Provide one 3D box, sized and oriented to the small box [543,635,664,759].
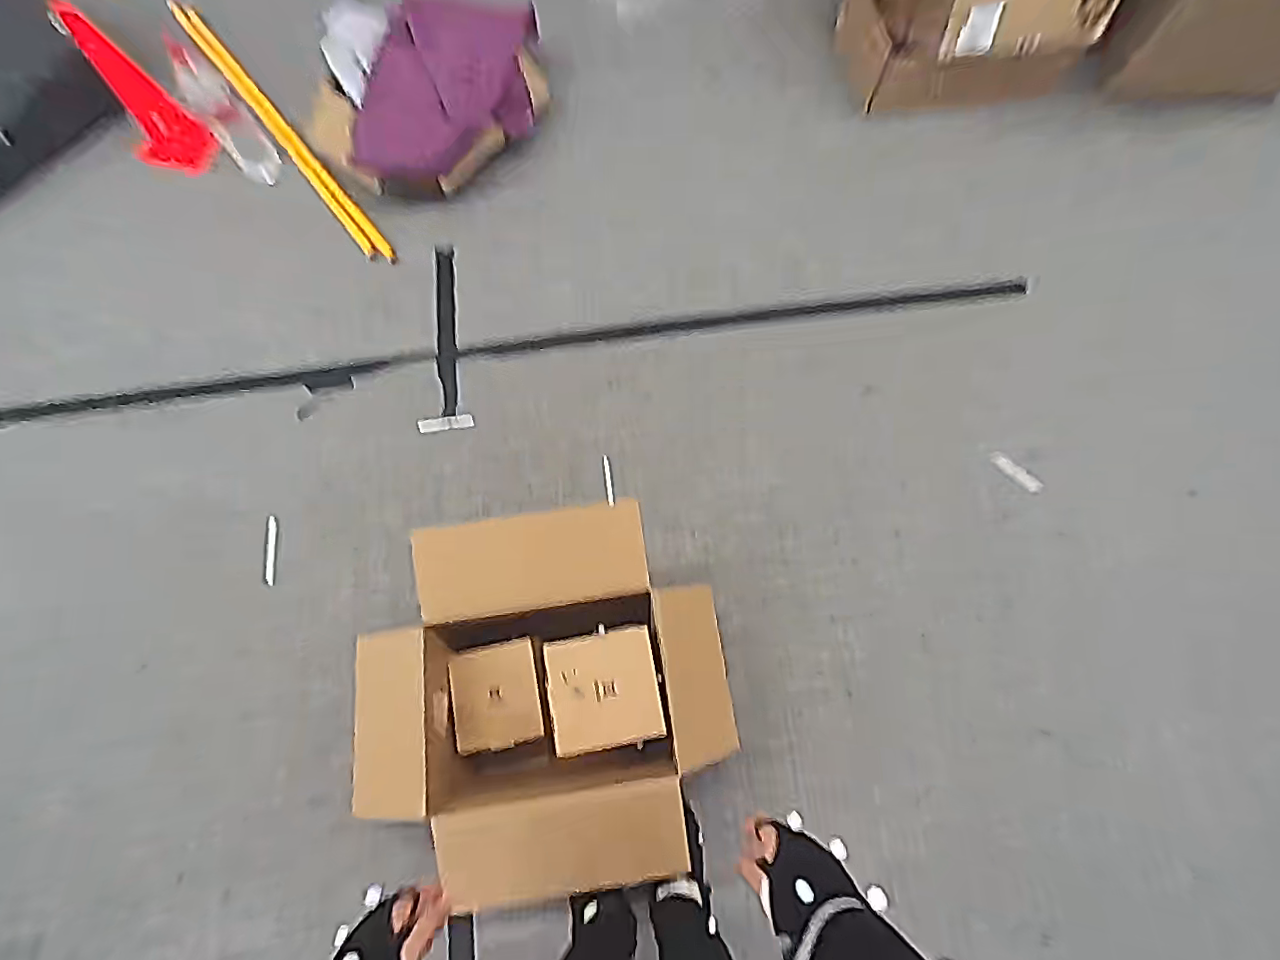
[{"bbox_3d":[-0.064,0.368,0.944,0.179,0.176,0.168,-10,73,-5],"label":"small box"}]
